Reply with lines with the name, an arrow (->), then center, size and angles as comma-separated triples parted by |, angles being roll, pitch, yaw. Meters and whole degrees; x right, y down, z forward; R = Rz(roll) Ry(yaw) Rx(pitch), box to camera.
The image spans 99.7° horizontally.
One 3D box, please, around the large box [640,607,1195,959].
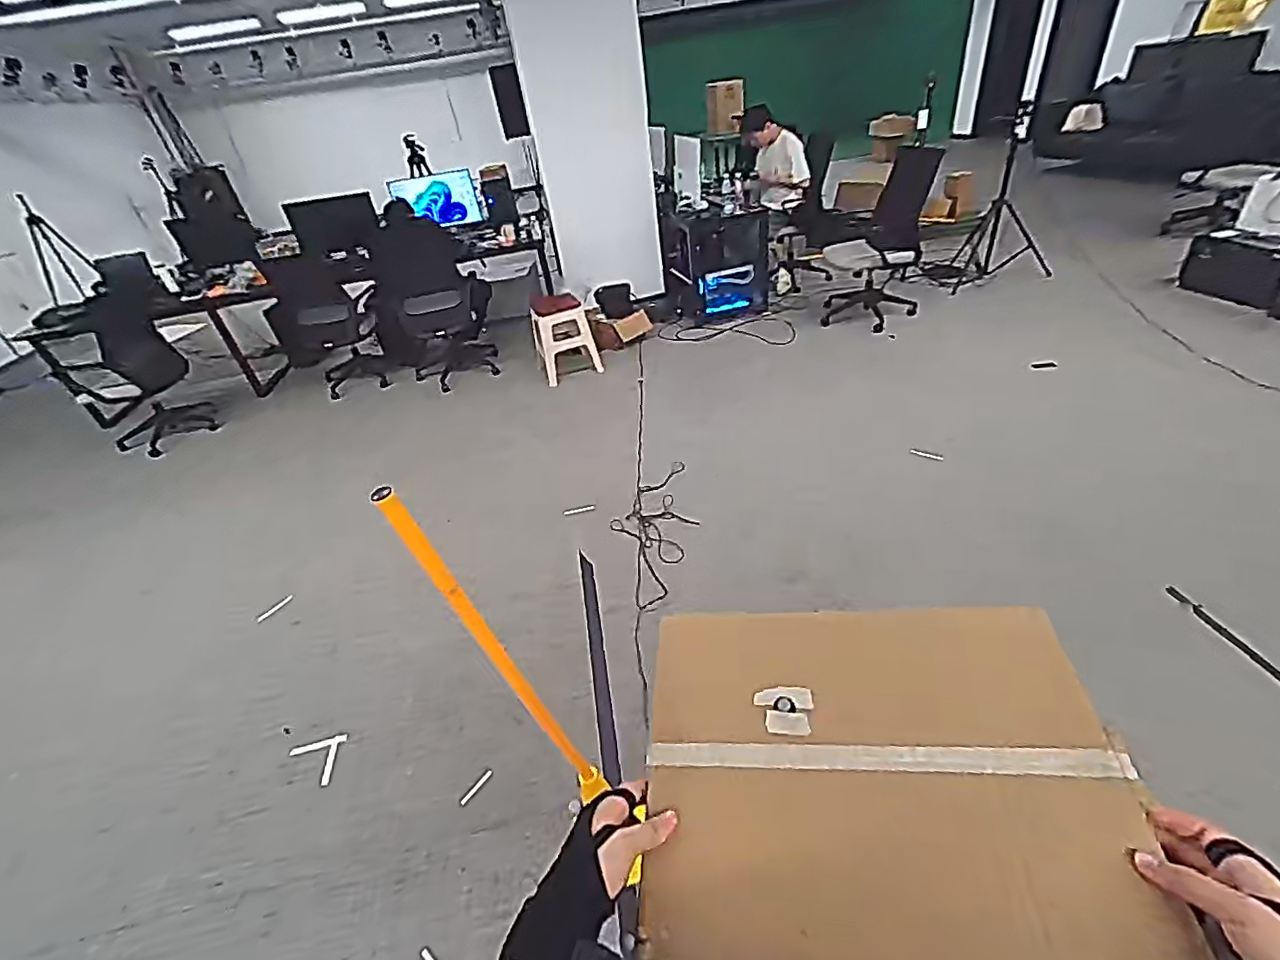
large box -> 0.239, 0.368, 0.608 | 0.408, 0.320, 0.320 | -6, 43, 13
